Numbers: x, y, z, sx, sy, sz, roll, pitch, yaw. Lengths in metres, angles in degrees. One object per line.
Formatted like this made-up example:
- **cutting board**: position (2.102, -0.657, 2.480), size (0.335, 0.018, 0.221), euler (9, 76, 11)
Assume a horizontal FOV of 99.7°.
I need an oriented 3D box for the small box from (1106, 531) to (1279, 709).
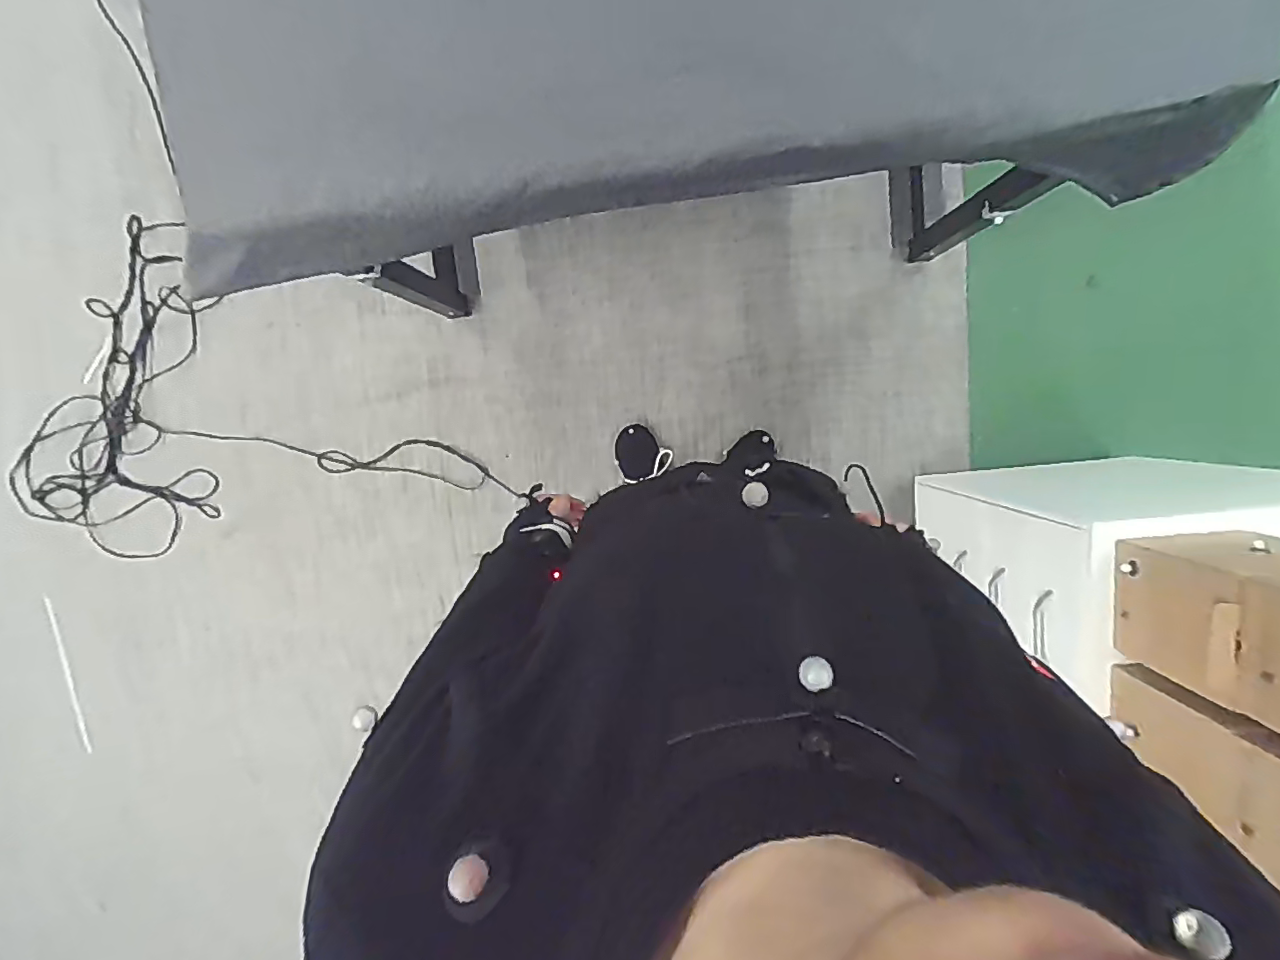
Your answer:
- **small box**: position (0.746, 0.167, 0.690), size (0.179, 0.176, 0.168), euler (-5, 98, 1)
